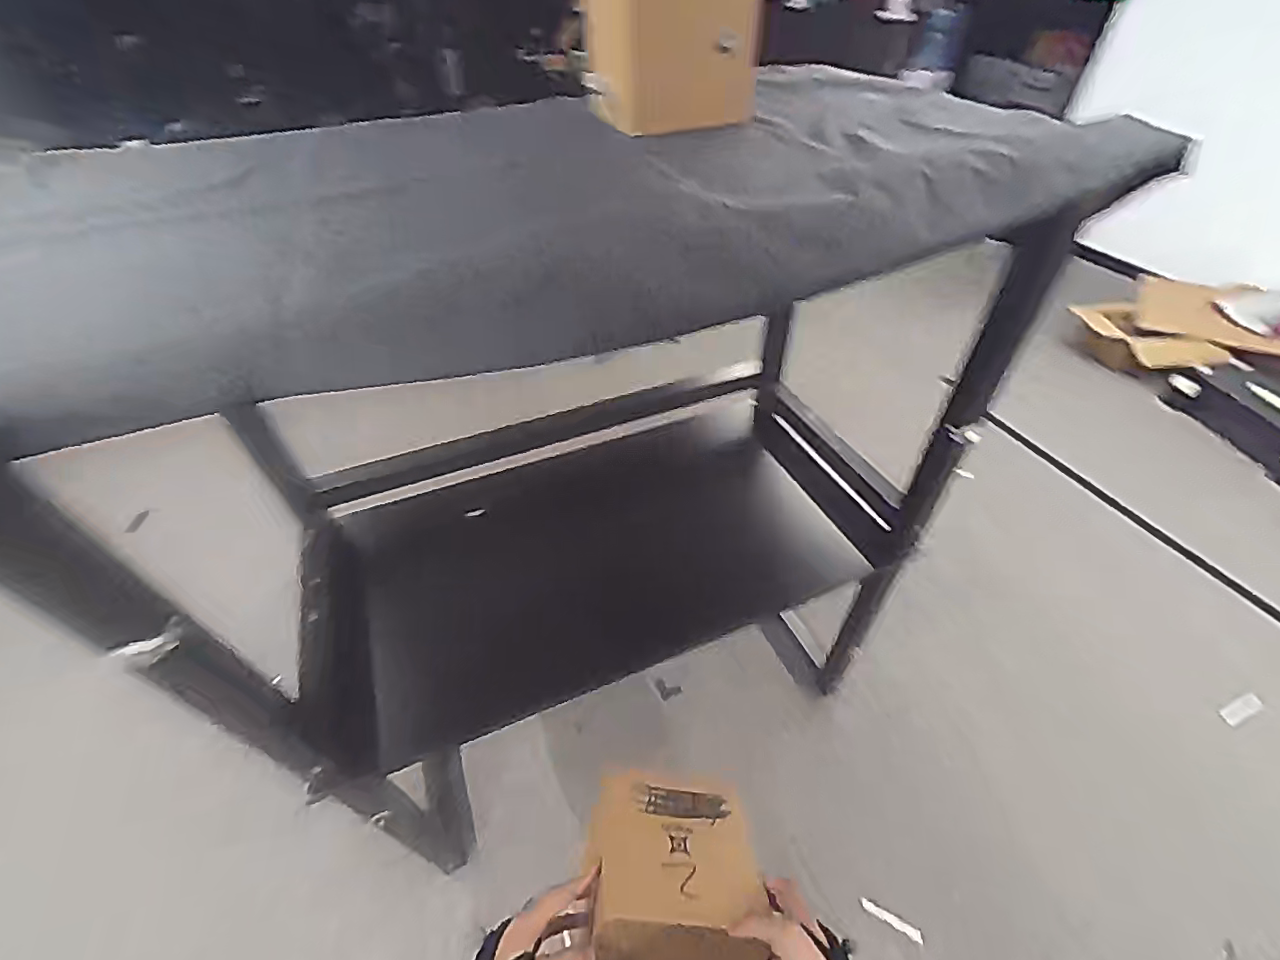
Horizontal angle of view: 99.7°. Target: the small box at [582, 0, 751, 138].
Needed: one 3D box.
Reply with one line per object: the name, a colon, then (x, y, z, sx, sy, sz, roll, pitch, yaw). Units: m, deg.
small box: (0.027, -0.576, 0.720, 0.179, 0.176, 0.168, -16, 46, -14)
